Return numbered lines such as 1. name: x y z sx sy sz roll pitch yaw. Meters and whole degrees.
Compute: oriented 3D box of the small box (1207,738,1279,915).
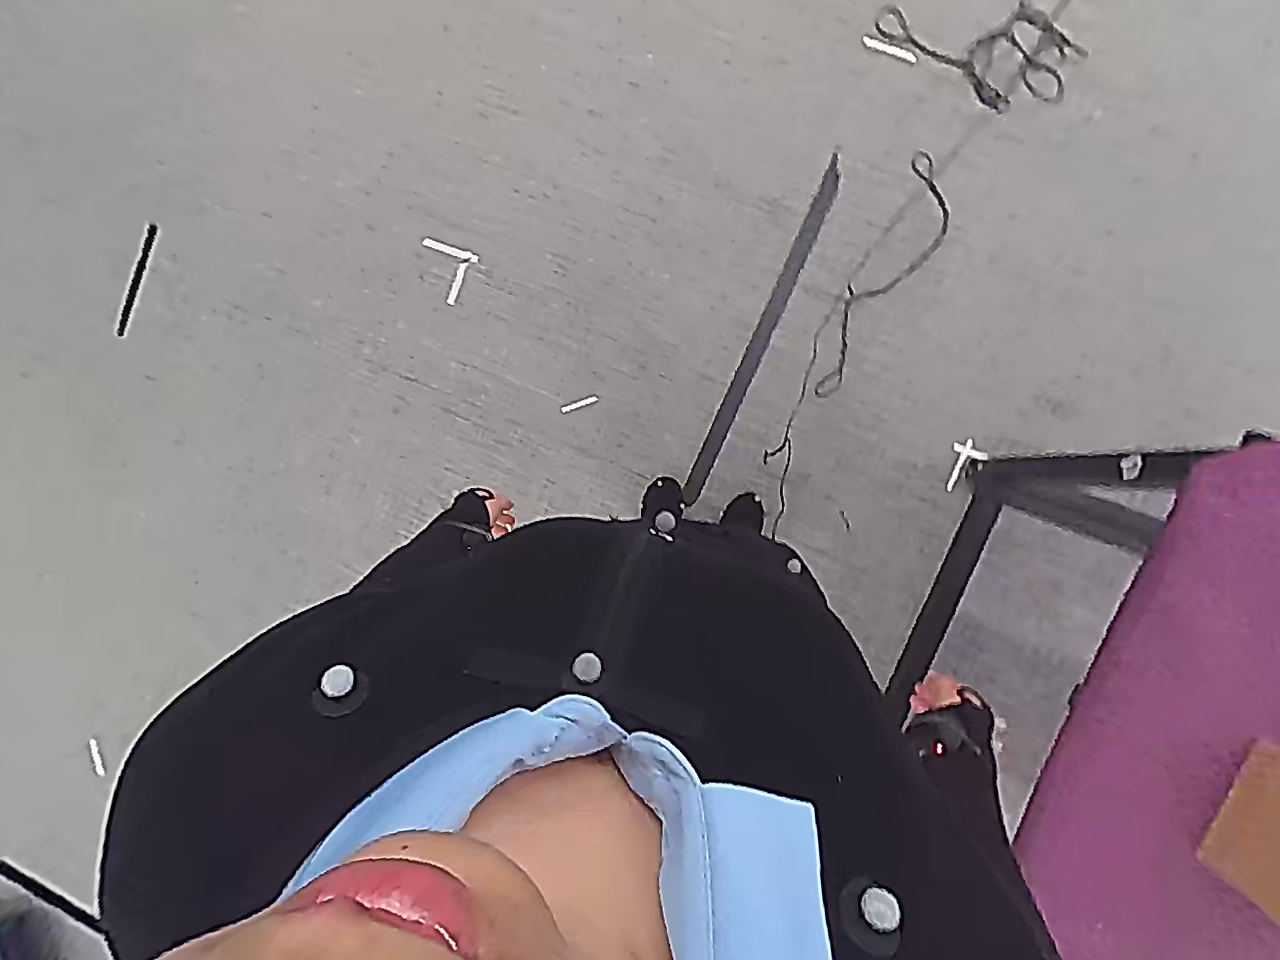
1. small box: 0.807 0.432 0.597 0.168 0.176 0.179 24 94 5
